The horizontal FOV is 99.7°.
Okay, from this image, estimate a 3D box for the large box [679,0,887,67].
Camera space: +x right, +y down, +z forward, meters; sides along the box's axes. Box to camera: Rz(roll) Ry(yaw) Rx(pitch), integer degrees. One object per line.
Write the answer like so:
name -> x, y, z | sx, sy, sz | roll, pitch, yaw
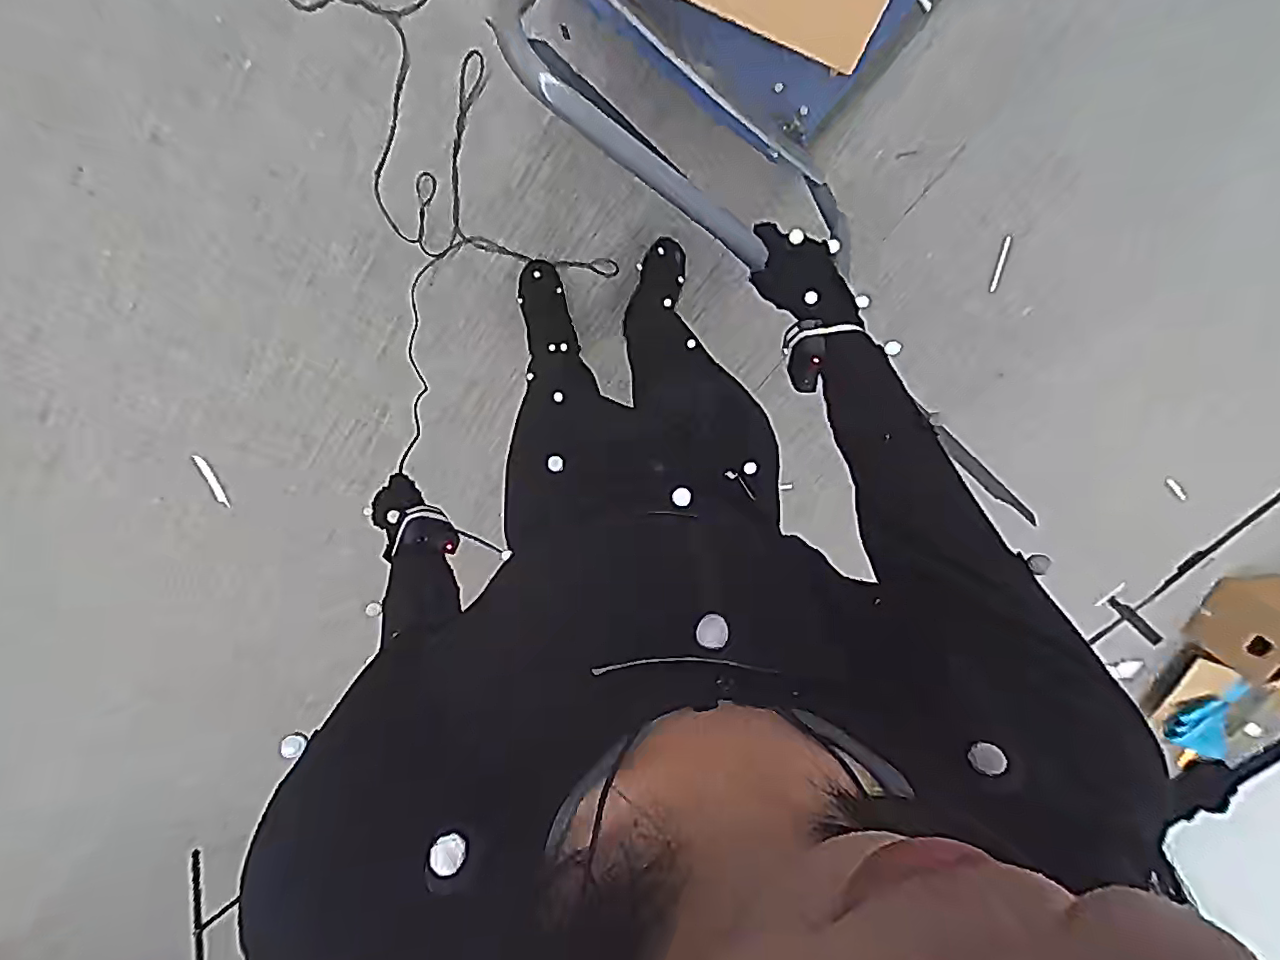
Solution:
large box -> 0.181, -0.874, 0.789 | 0.408, 0.320, 0.320 | 13, 133, -12
